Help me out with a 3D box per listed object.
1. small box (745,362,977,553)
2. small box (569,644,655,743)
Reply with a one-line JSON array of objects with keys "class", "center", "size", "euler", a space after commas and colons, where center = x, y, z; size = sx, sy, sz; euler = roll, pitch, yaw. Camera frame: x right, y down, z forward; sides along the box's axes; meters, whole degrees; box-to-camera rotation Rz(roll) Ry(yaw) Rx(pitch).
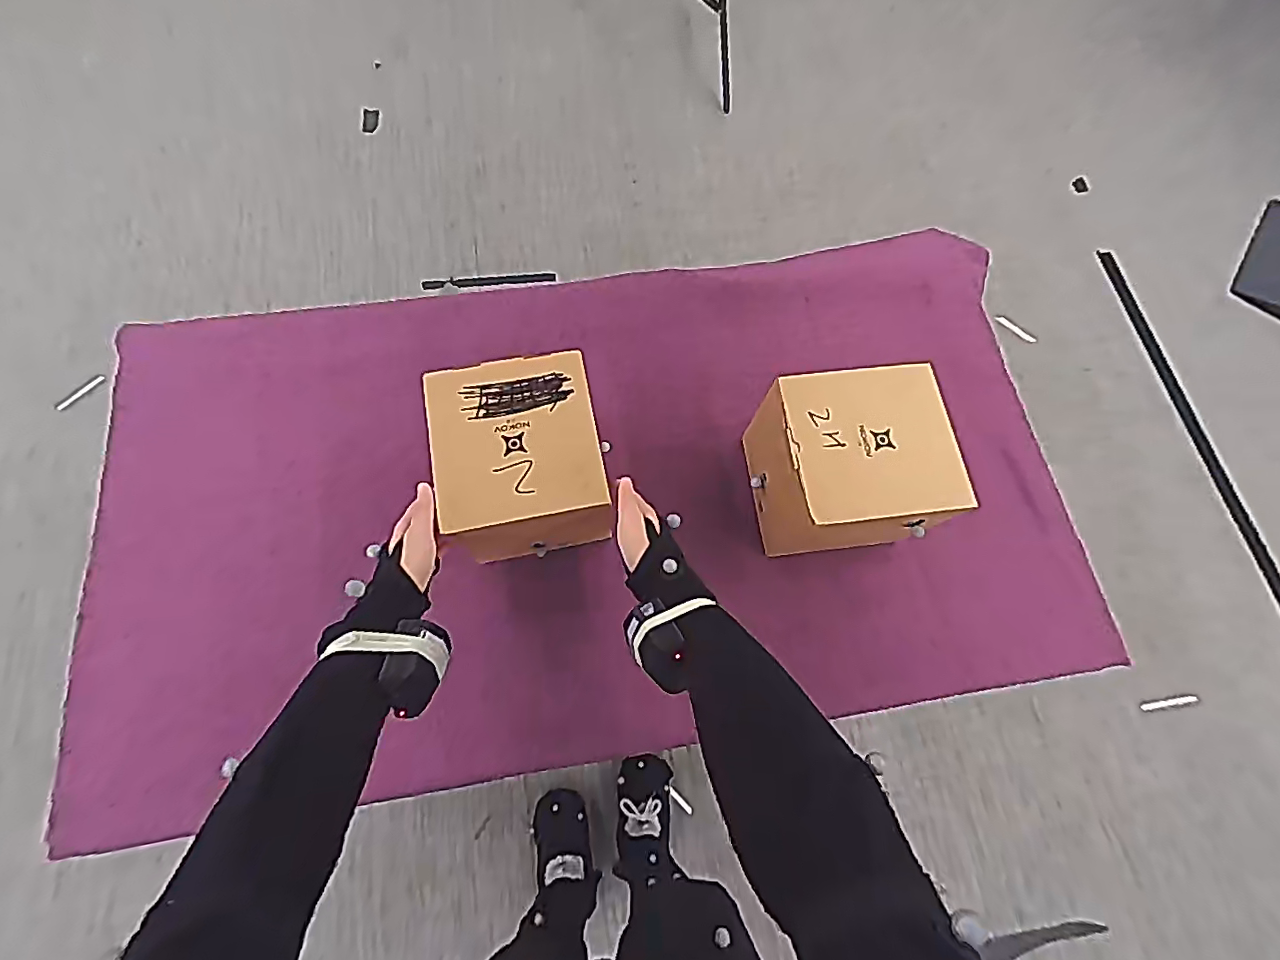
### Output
[{"class": "small box", "center": [0.237, -0.018, 0.629], "size": [0.179, 0.176, 0.168], "euler": [-6, 71, -4]}, {"class": "small box", "center": [-0.065, 0.475, 1.220], "size": [0.168, 0.176, 0.179], "euler": [-8, 73, -5]}]
